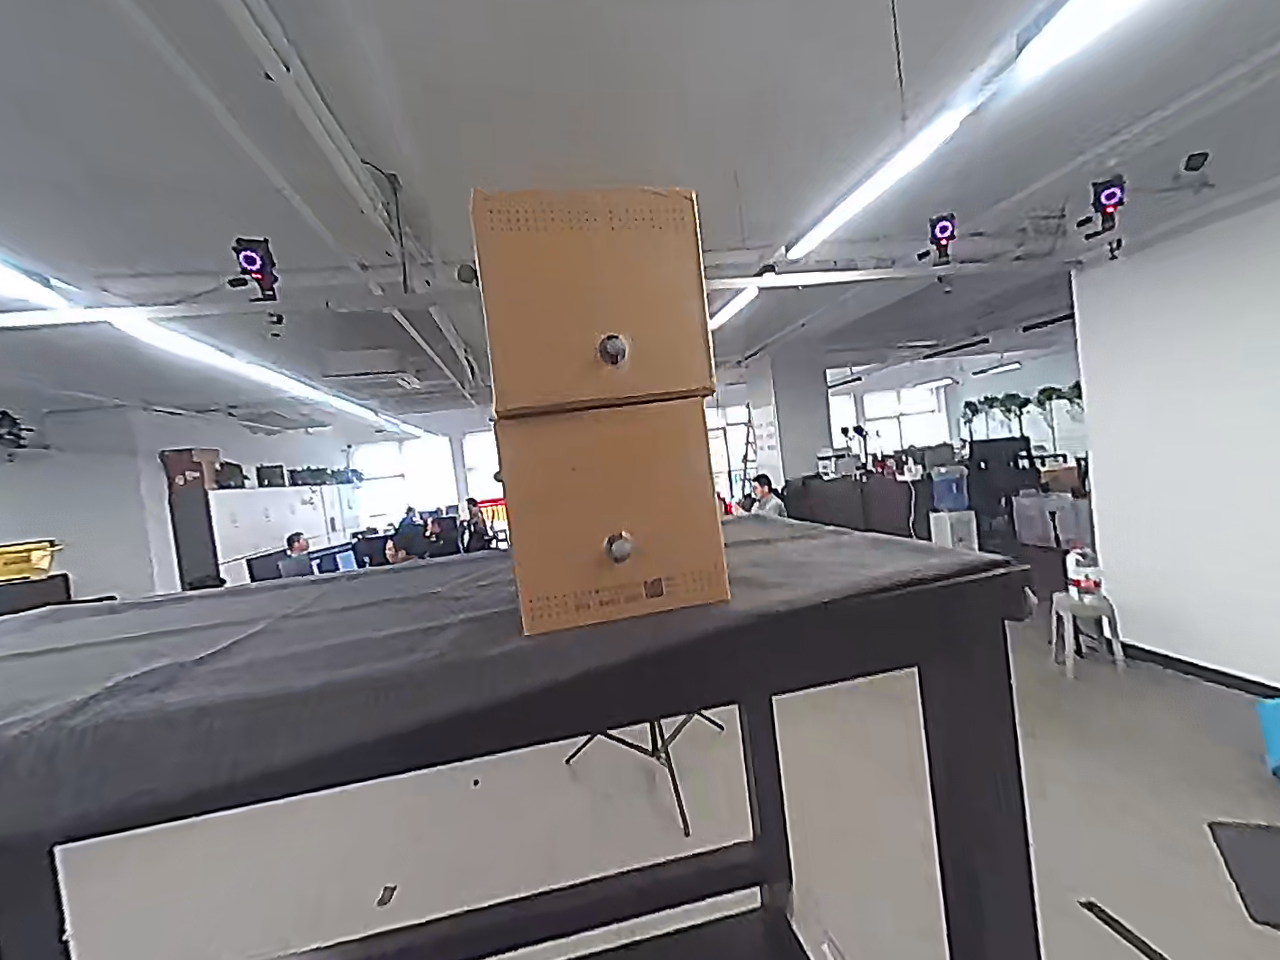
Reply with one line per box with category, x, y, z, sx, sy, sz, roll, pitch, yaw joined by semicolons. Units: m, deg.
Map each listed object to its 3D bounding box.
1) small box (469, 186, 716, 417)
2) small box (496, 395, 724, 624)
small box;-0.049;-0.142;0.487;0.179;0.176;0.168;-7;1;-13
small box;-0.031;0.024;0.503;0.168;0.176;0.179;-8;1;-9
